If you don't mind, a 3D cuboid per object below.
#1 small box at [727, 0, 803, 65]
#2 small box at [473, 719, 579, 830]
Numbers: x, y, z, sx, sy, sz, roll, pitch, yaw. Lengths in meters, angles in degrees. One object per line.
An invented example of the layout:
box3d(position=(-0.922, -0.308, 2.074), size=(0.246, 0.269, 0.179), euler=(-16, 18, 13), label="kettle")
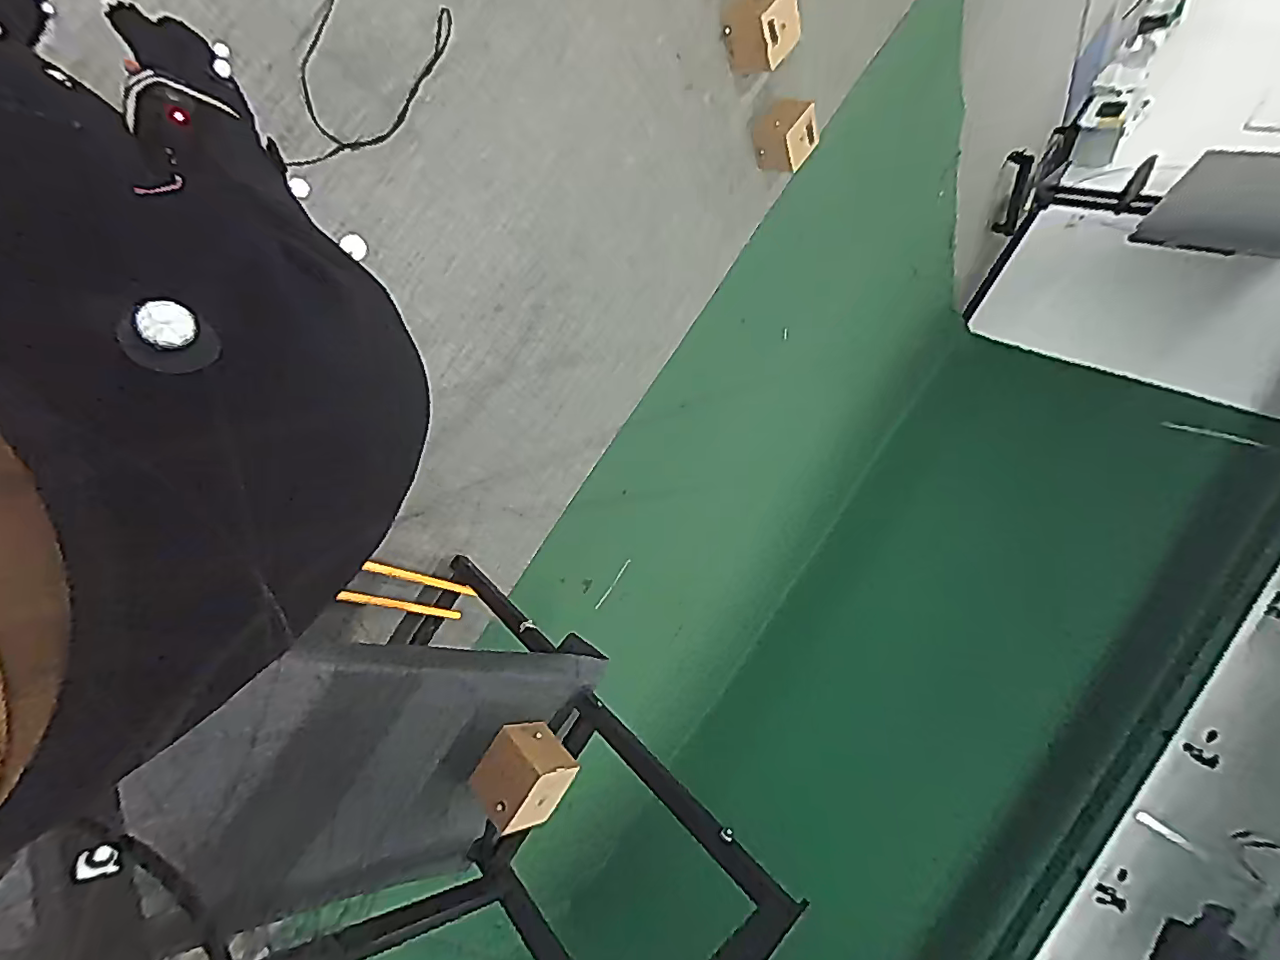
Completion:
box3d(position=(0.398, -1.482, 1.745), size=(0.179, 0.176, 0.168), euler=(-52, 145, -8), label="small box")
box3d(position=(-0.296, 0.740, 1.379), size=(0.179, 0.176, 0.168), euler=(-57, 145, 1), label="small box")
